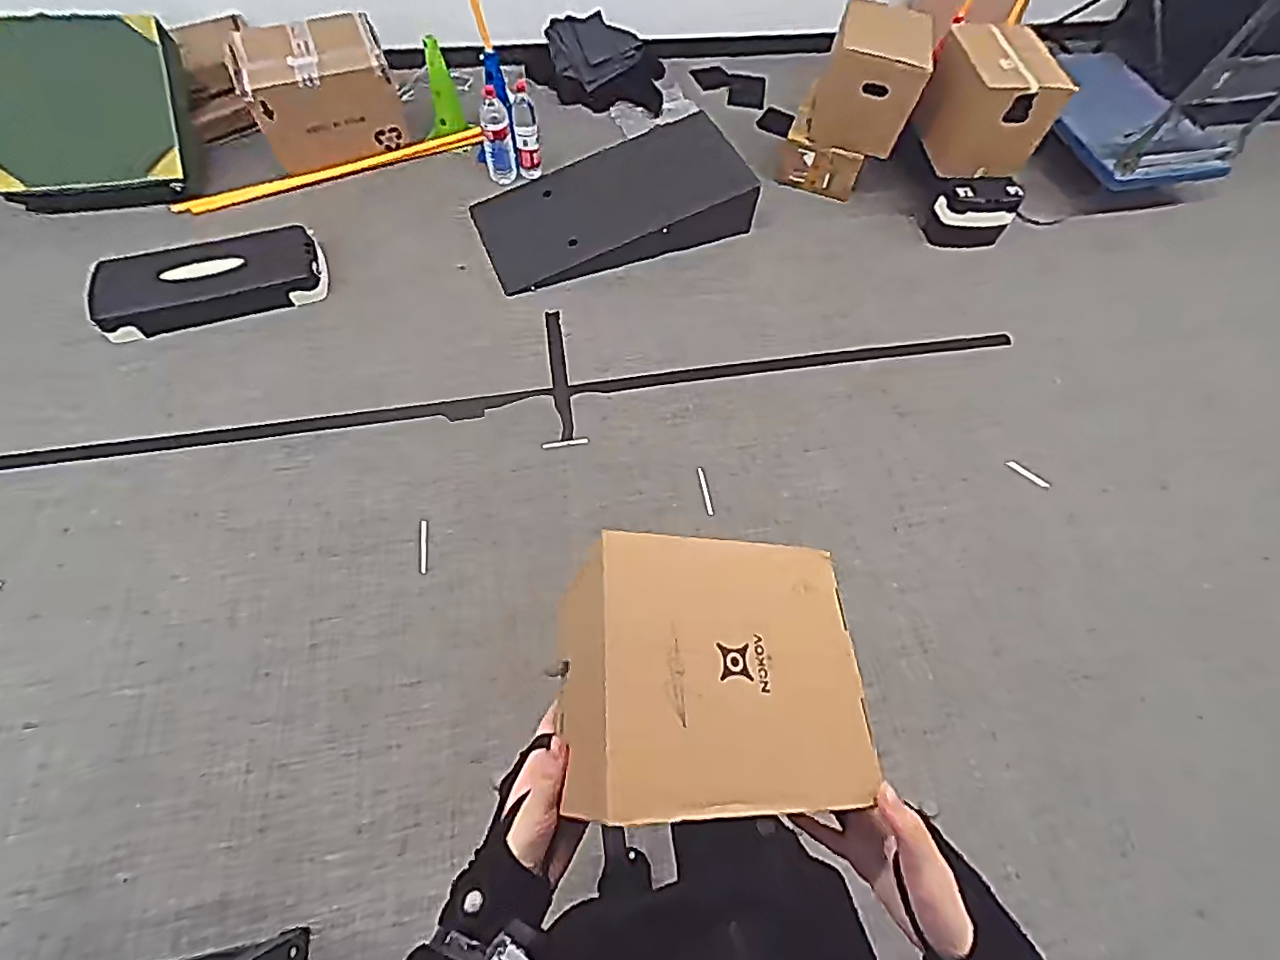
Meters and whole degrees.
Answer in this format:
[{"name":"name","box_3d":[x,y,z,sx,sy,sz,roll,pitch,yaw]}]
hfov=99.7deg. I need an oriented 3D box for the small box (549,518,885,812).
[{"name":"small box","box_3d":[0.037,0.144,0.400,0.179,0.176,0.168,7,58,-16]}]
